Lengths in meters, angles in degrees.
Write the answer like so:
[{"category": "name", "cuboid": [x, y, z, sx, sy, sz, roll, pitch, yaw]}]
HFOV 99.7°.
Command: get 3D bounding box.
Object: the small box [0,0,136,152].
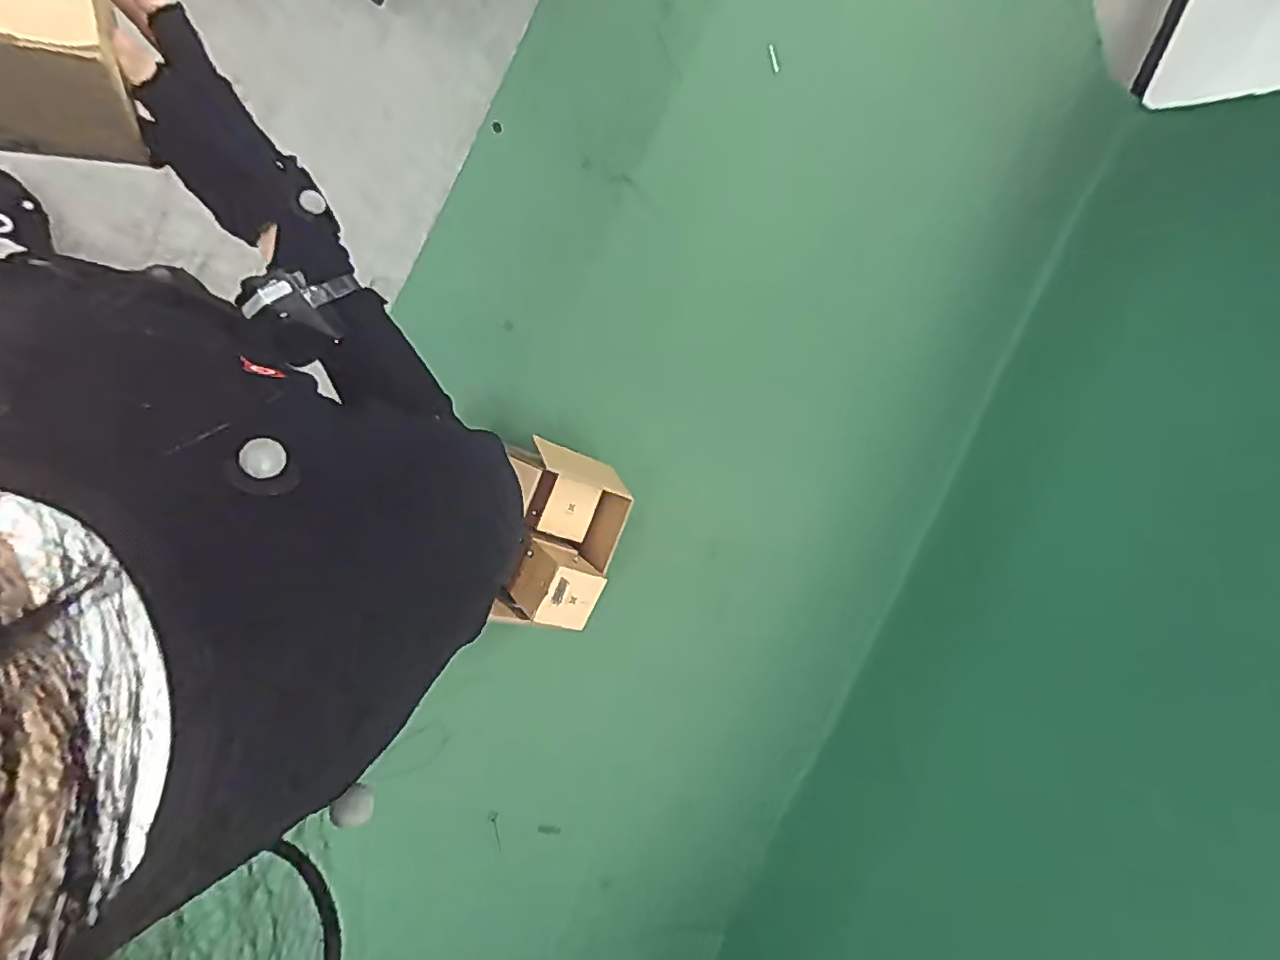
[{"category": "small box", "cuboid": [-0.381, -0.293, 0.261, 0.168, 0.176, 0.179, -12, 106, -34]}]
